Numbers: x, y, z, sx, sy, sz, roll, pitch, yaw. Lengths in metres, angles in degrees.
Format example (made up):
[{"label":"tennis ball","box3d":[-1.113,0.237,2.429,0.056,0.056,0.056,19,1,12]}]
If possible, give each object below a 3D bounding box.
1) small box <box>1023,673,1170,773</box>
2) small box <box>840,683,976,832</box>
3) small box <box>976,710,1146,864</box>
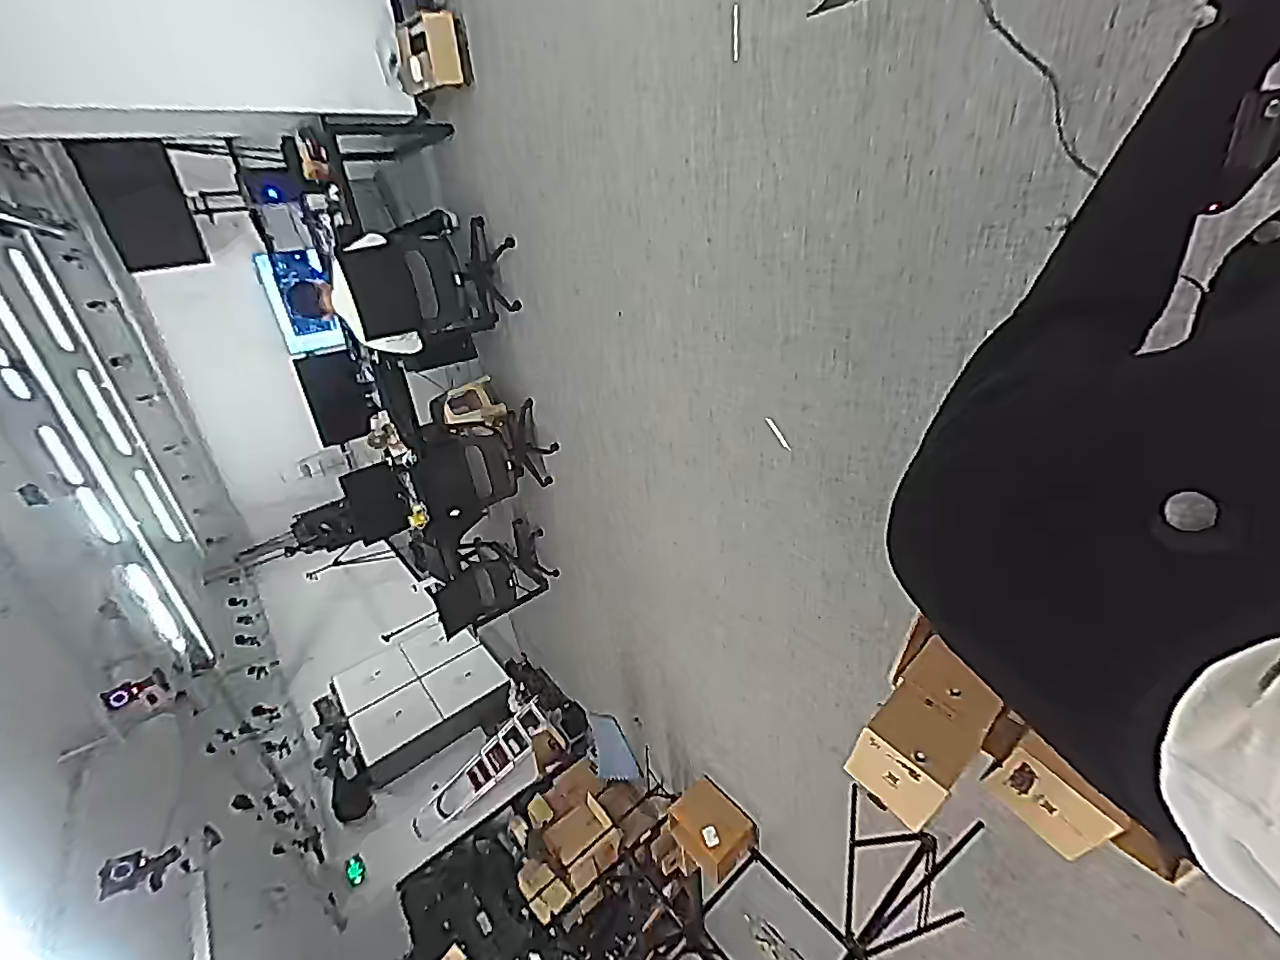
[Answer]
[{"label":"small box","box3d":[0.936,0.533,1.128,0.179,0.176,0.168,38,140,40]},{"label":"small box","box3d":[0.541,0.555,1.095,0.168,0.176,0.179,35,139,36]},{"label":"small box","box3d":[0.804,0.575,1.039,0.179,0.176,0.168,41,141,35]}]
